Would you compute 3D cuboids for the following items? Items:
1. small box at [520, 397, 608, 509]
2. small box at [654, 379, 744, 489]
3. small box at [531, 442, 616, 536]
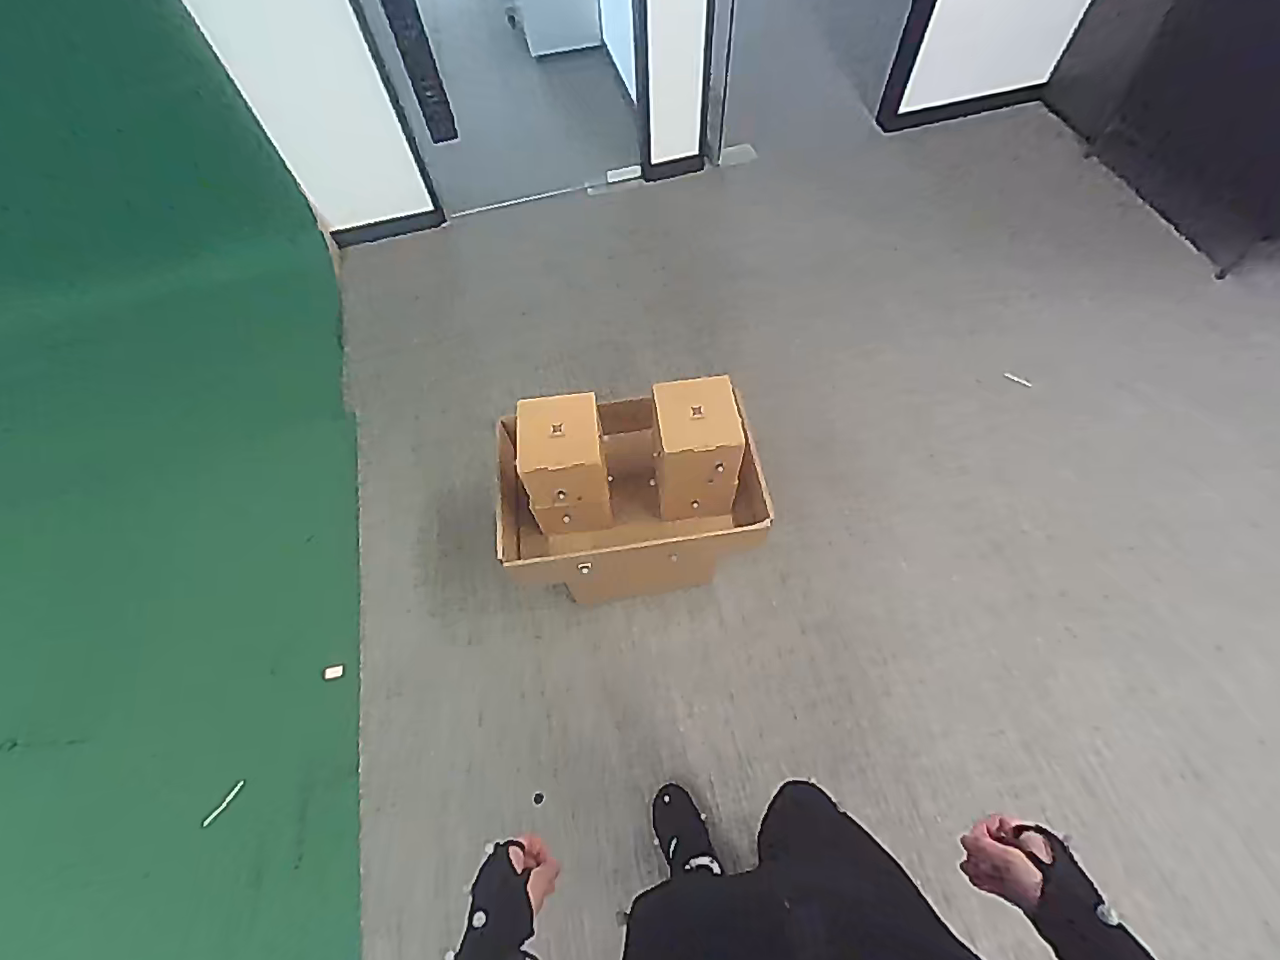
[{"bbox_3d":[-0.161,-0.055,1.170,0.168,0.176,0.179,-7,61,-1],"label":"small box"},{"bbox_3d":[0.122,-0.092,1.171,0.168,0.176,0.179,-6,60,-1],"label":"small box"},{"bbox_3d":[-0.157,0.026,1.310,0.179,0.176,0.168,-6,61,1],"label":"small box"}]
